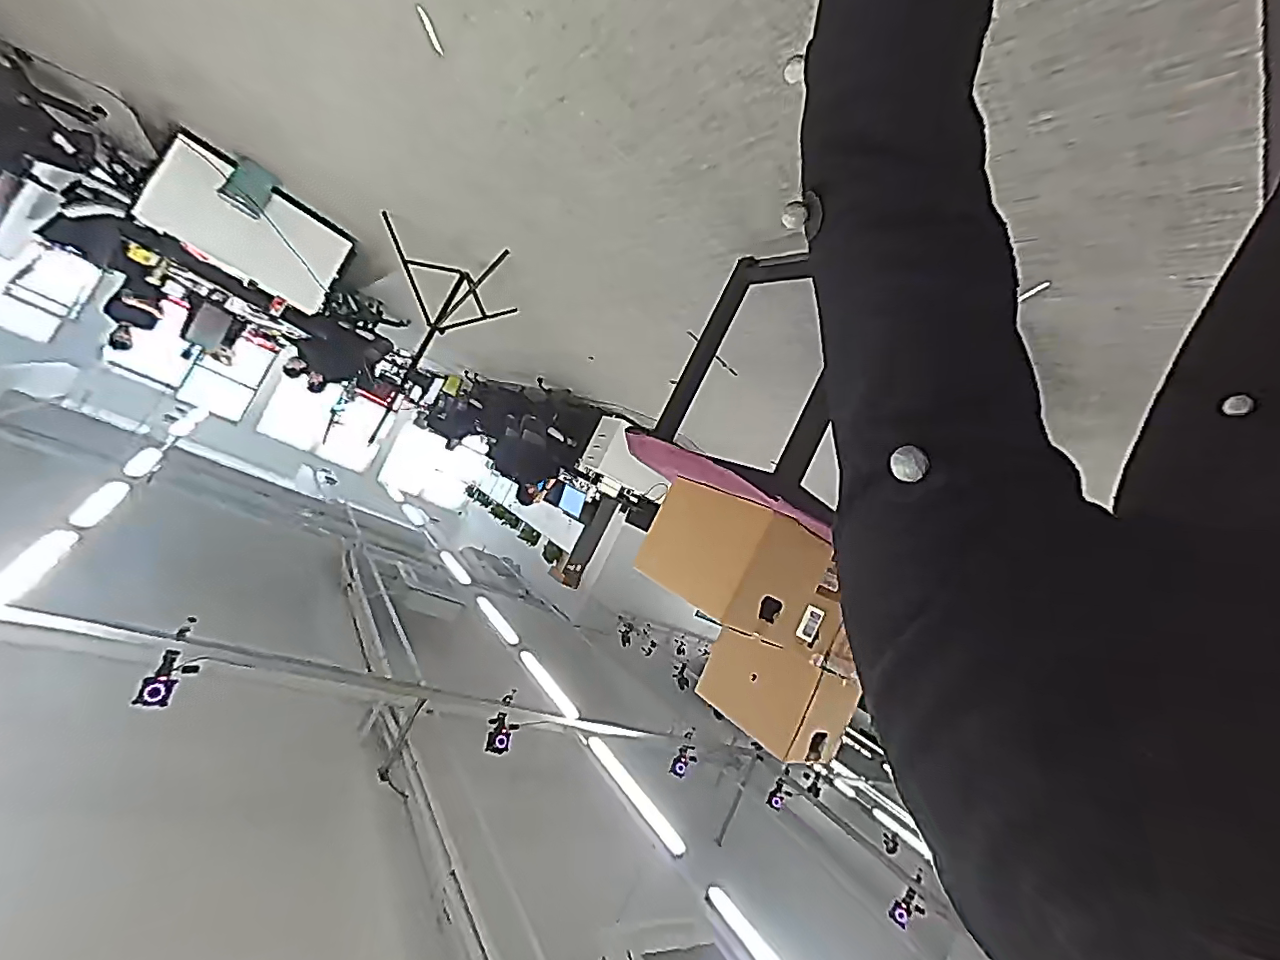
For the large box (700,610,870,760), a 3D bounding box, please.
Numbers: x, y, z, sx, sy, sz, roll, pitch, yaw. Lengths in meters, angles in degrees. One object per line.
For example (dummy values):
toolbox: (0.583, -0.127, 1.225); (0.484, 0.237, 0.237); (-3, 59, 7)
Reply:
large box: (0.487, 0.687, 1.848); (0.320, 0.320, 0.408); (25, 178, -37)
